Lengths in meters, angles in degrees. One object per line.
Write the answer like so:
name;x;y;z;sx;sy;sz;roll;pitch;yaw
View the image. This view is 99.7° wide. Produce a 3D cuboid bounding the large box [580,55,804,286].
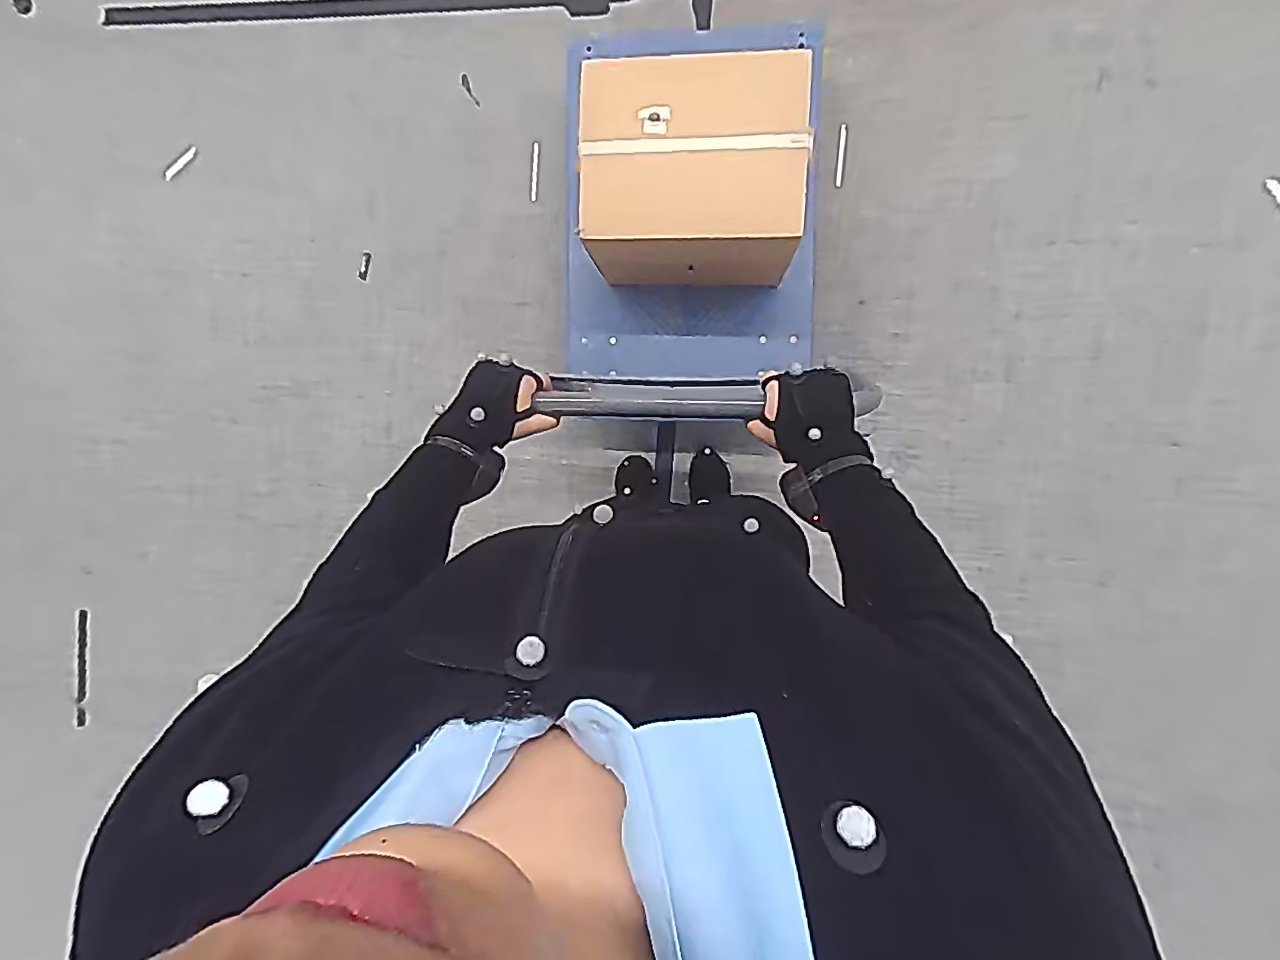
large box;0.109;-0.600;1.120;0.408;0.320;0.320;2;94;8
